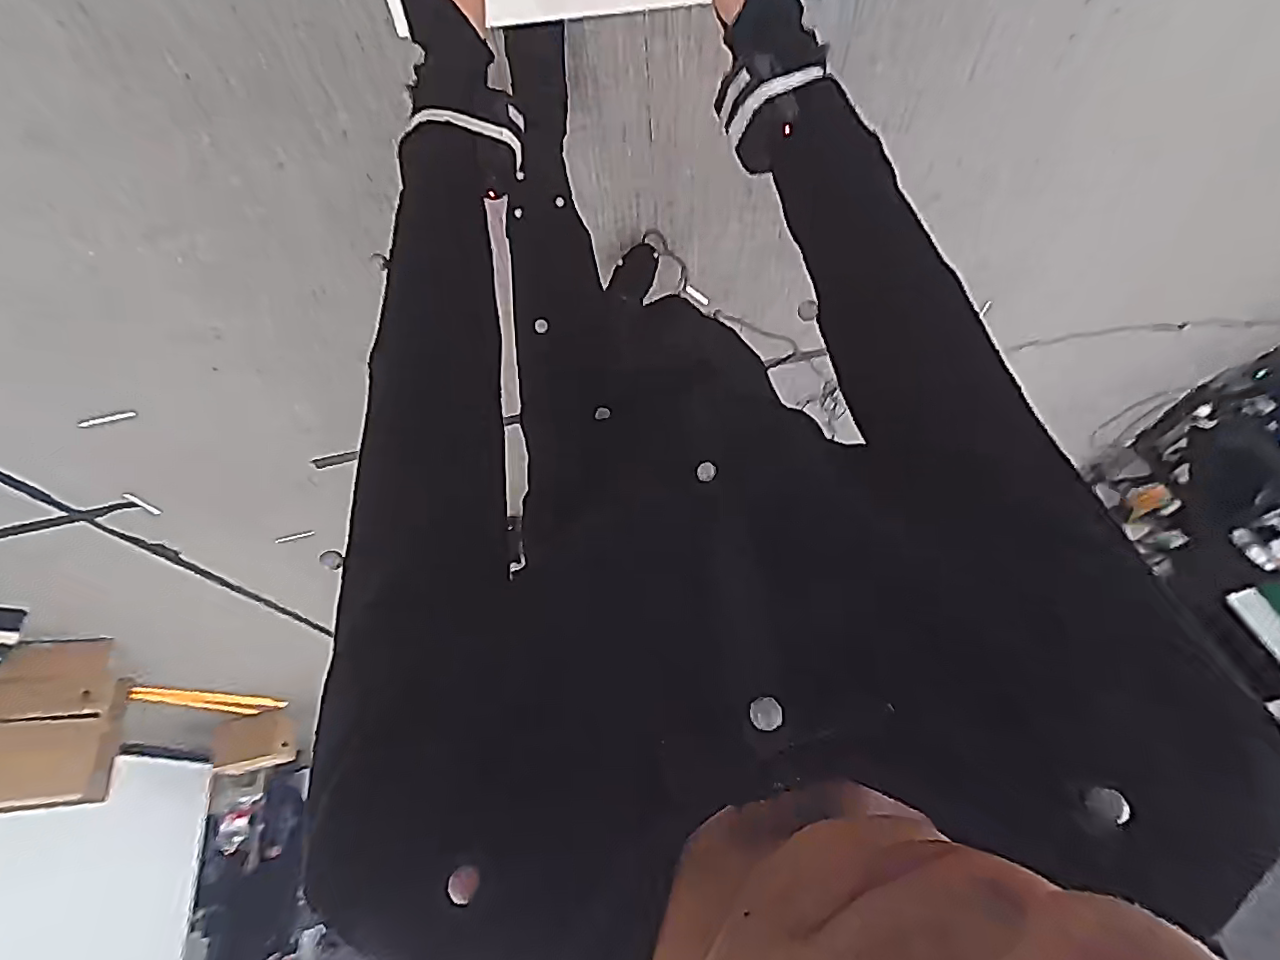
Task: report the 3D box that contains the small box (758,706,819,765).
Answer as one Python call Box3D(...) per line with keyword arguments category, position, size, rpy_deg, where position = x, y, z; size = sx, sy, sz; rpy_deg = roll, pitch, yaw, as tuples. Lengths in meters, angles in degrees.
Box3D(category="small box", position=(0.578, 1.004, 2.127), size=(0.168, 0.176, 0.179), rpy_deg=(-13, 149, -5))

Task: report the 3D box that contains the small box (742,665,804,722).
Box3D(category="small box", position=(0.541, 0.873, 2.217), size=(0.179, 0.176, 0.168), rpy_deg=(-10, 147, -10))
